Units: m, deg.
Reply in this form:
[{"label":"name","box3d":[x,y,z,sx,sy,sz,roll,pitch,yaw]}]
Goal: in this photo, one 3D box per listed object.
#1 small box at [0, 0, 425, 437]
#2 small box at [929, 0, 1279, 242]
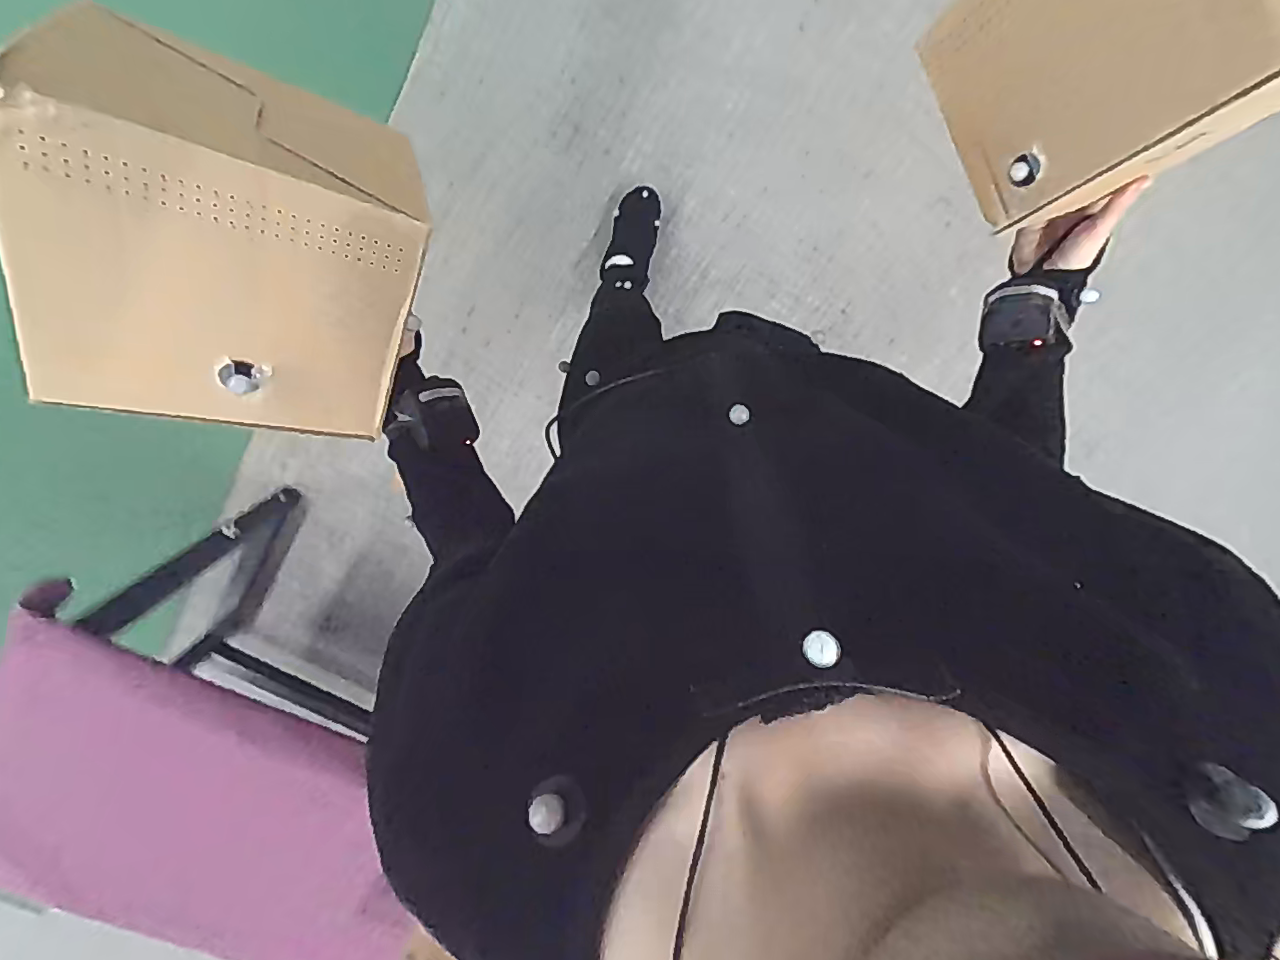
[{"label":"small box","box3d":[-0.250,-0.153,0.349,0.179,0.168,0.176,7,131,-34]},{"label":"small box","box3d":[0.343,-0.300,0.371,0.168,0.179,0.176,-21,91,-21]}]
